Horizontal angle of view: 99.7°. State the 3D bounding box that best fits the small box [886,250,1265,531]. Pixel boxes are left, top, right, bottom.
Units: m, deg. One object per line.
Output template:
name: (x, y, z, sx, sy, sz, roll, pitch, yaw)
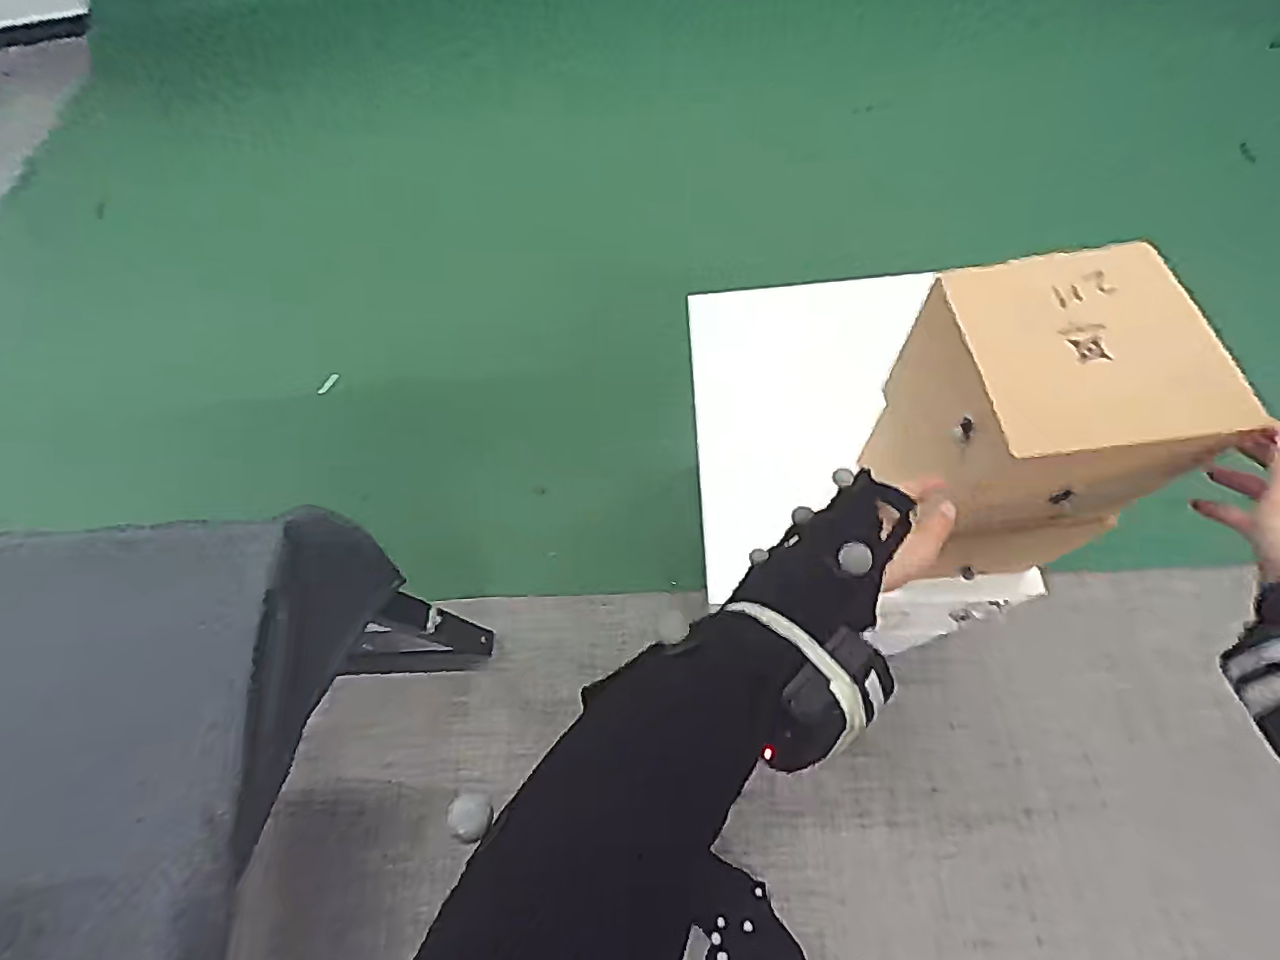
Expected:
small box: (0.339, -0.062, 0.472, 0.168, 0.176, 0.179, -6, 64, 4)
